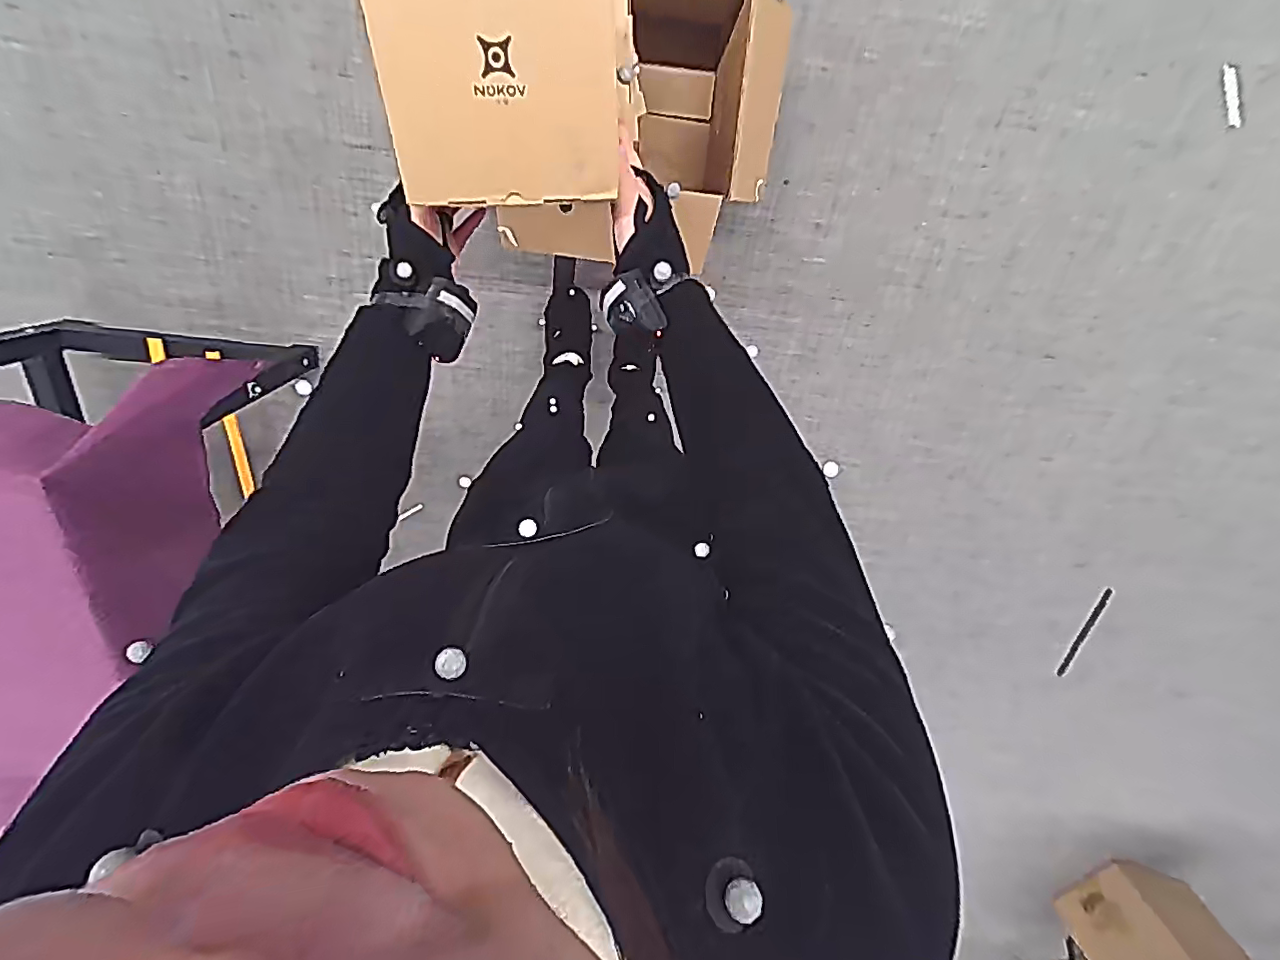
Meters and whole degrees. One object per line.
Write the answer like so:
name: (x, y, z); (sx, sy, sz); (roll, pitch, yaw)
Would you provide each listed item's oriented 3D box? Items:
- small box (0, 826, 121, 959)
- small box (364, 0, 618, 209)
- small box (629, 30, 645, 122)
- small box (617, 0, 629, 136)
small box: (-1.082, 0.747, 0.960); (0.179, 0.176, 0.168); (9, 116, -5)
small box: (-0.102, -0.328, 0.436); (0.168, 0.176, 0.179); (-3, 124, -4)
small box: (-0.100, -0.667, 0.888); (0.179, 0.176, 0.168); (-15, 120, 2)
small box: (-0.104, -0.484, 0.612); (0.179, 0.176, 0.168); (-3, 121, -4)
